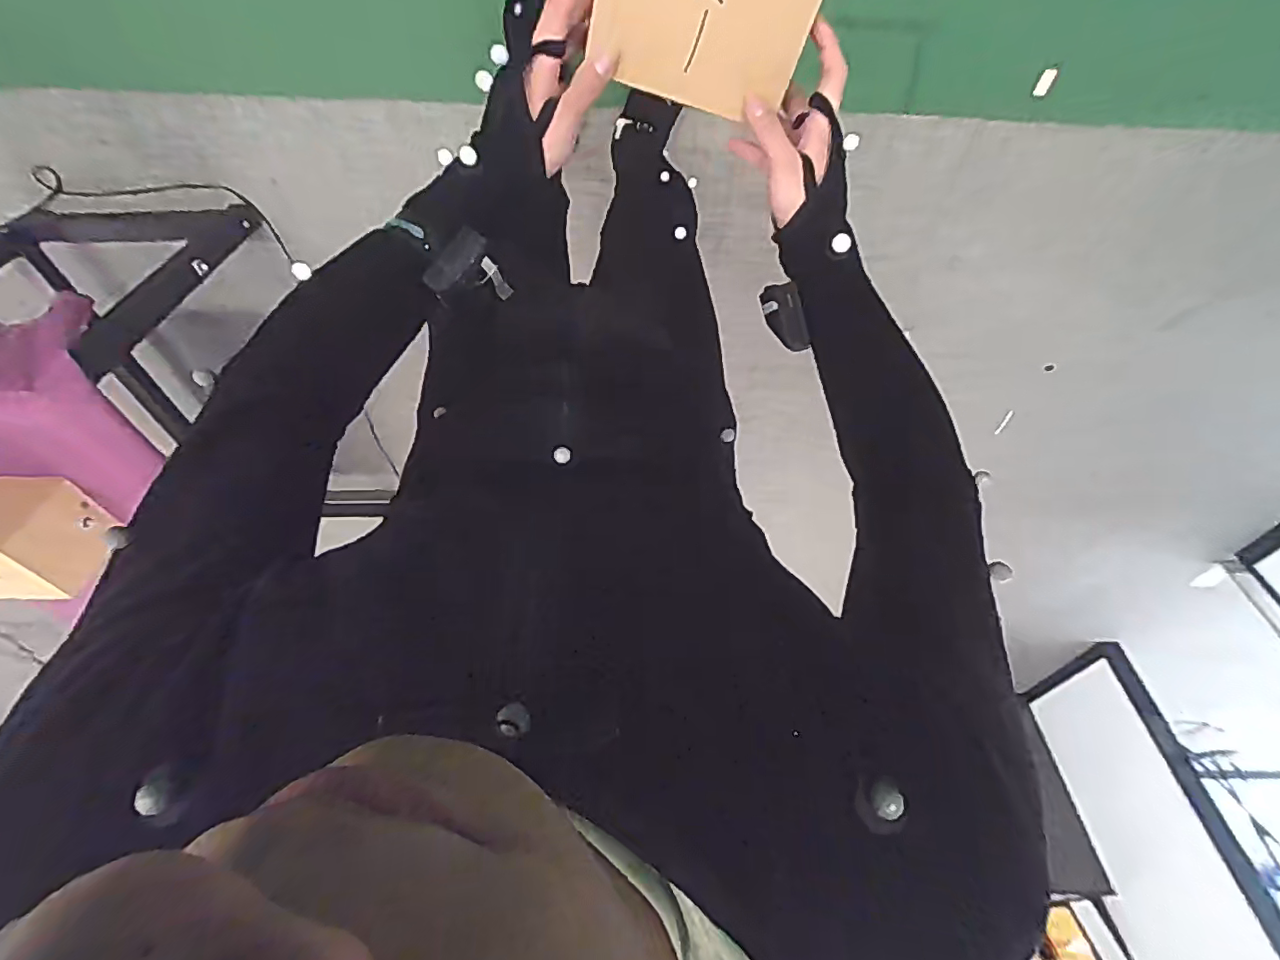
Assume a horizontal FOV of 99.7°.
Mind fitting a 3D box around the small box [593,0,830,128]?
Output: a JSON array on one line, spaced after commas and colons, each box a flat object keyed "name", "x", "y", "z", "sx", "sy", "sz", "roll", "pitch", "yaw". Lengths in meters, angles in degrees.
[{"name": "small box", "x": 0.058, "y": -0.429, "z": 0.437, "sx": 0.168, "sy": 0.176, "sz": 0.179, "roll": 9, "pitch": 136, "yaw": -14}]
